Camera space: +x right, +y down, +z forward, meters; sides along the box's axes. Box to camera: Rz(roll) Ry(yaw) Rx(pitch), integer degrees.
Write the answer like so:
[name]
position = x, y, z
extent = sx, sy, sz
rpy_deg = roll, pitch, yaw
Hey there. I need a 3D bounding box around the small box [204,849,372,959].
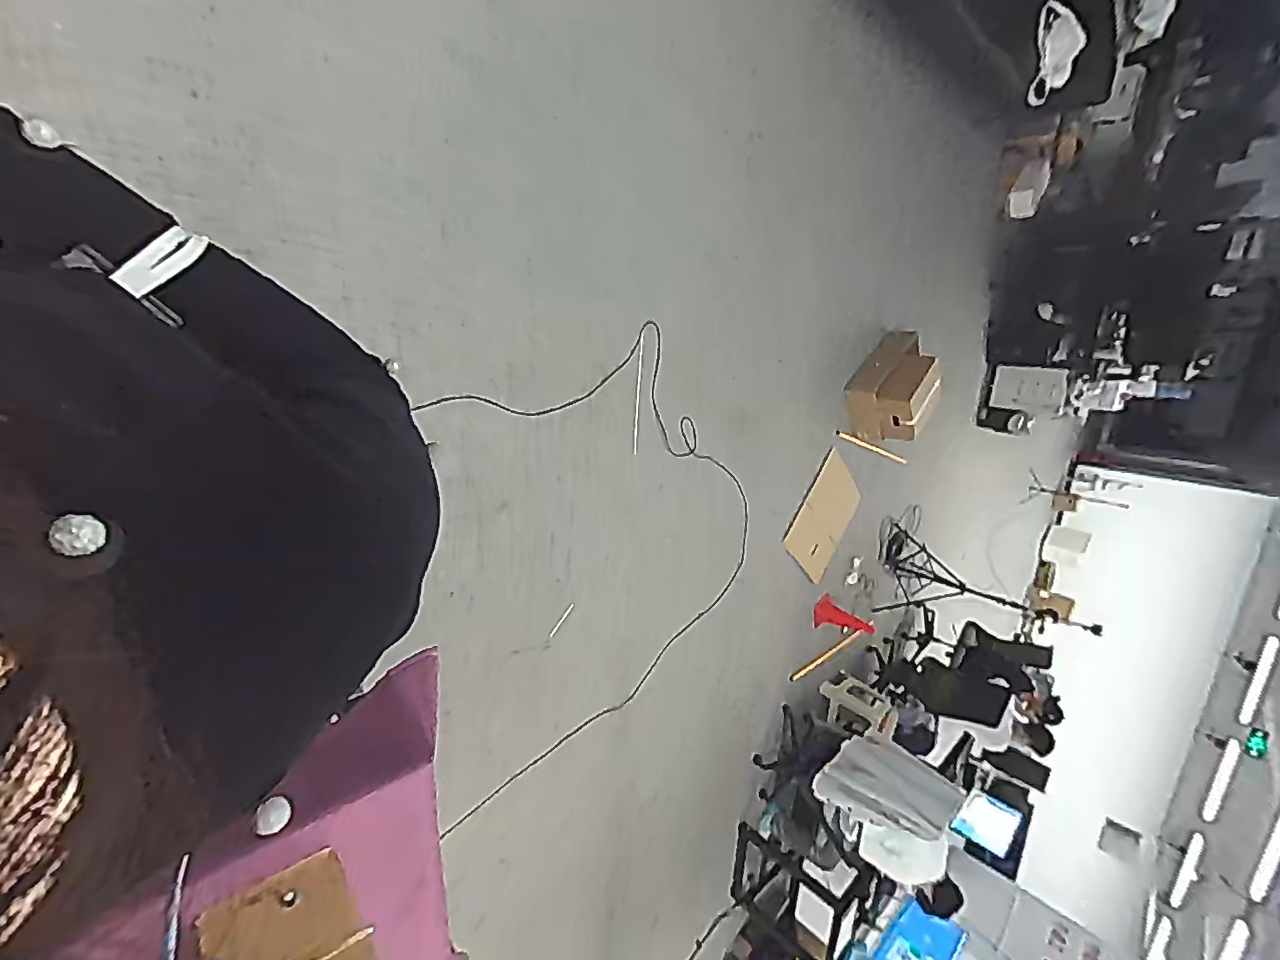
[small box]
position = -0.482, 0.672, 0.748
extent = 0.168, 0.176, 0.179
rpy_deg = -10, 109, -42
